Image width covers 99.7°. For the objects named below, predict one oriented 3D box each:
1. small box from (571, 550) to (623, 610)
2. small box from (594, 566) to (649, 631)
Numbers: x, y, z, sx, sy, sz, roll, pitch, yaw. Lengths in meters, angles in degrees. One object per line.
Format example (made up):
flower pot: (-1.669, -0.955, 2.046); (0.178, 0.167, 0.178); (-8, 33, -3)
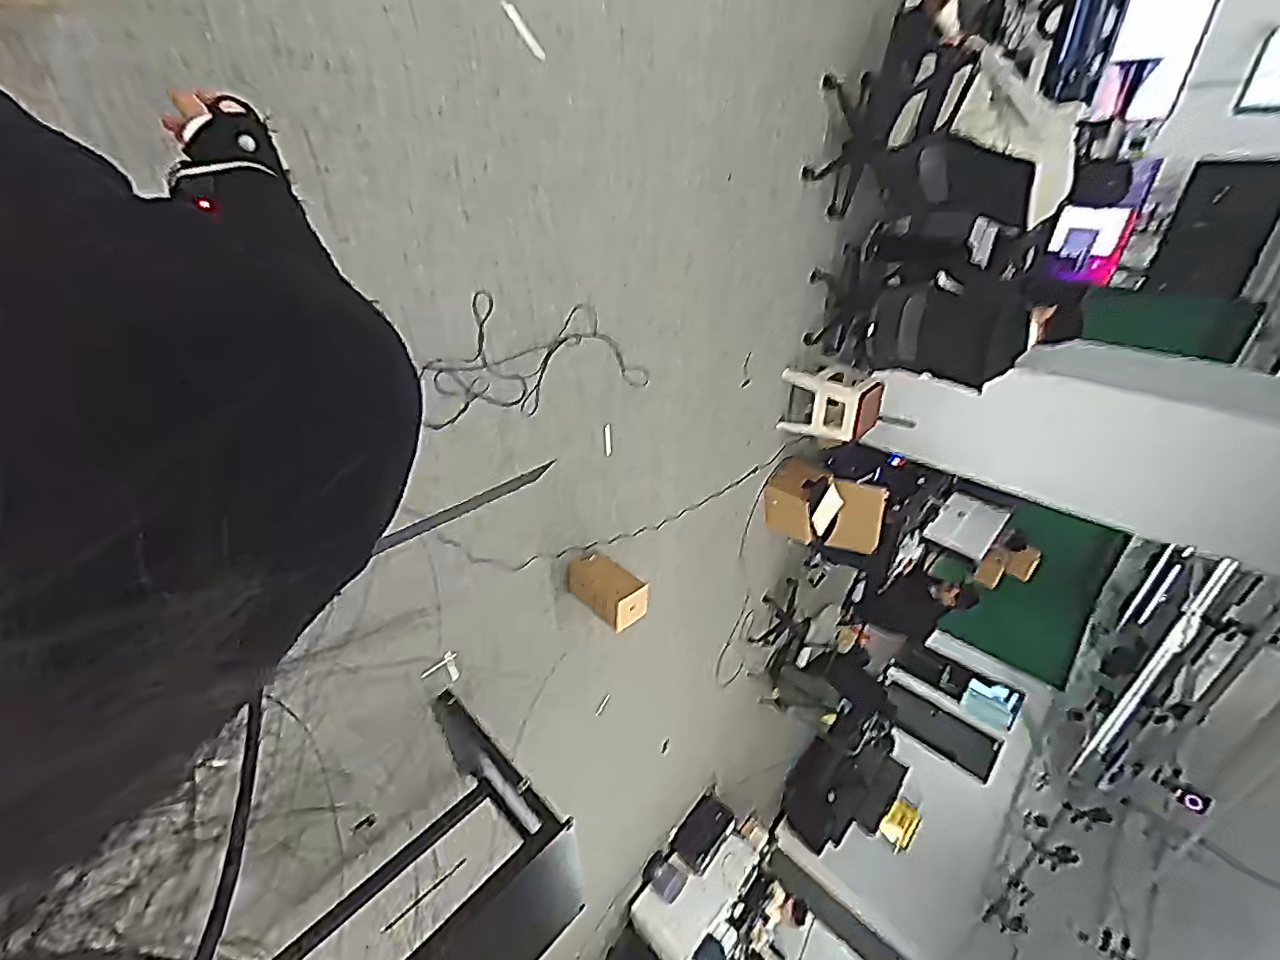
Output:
small box: (-0.194, 0.438, 2.394); (0.168, 0.176, 0.179); (-22, 126, -42)
small box: (-0.082, 0.495, 2.286); (0.179, 0.176, 0.168); (-25, 130, -40)
